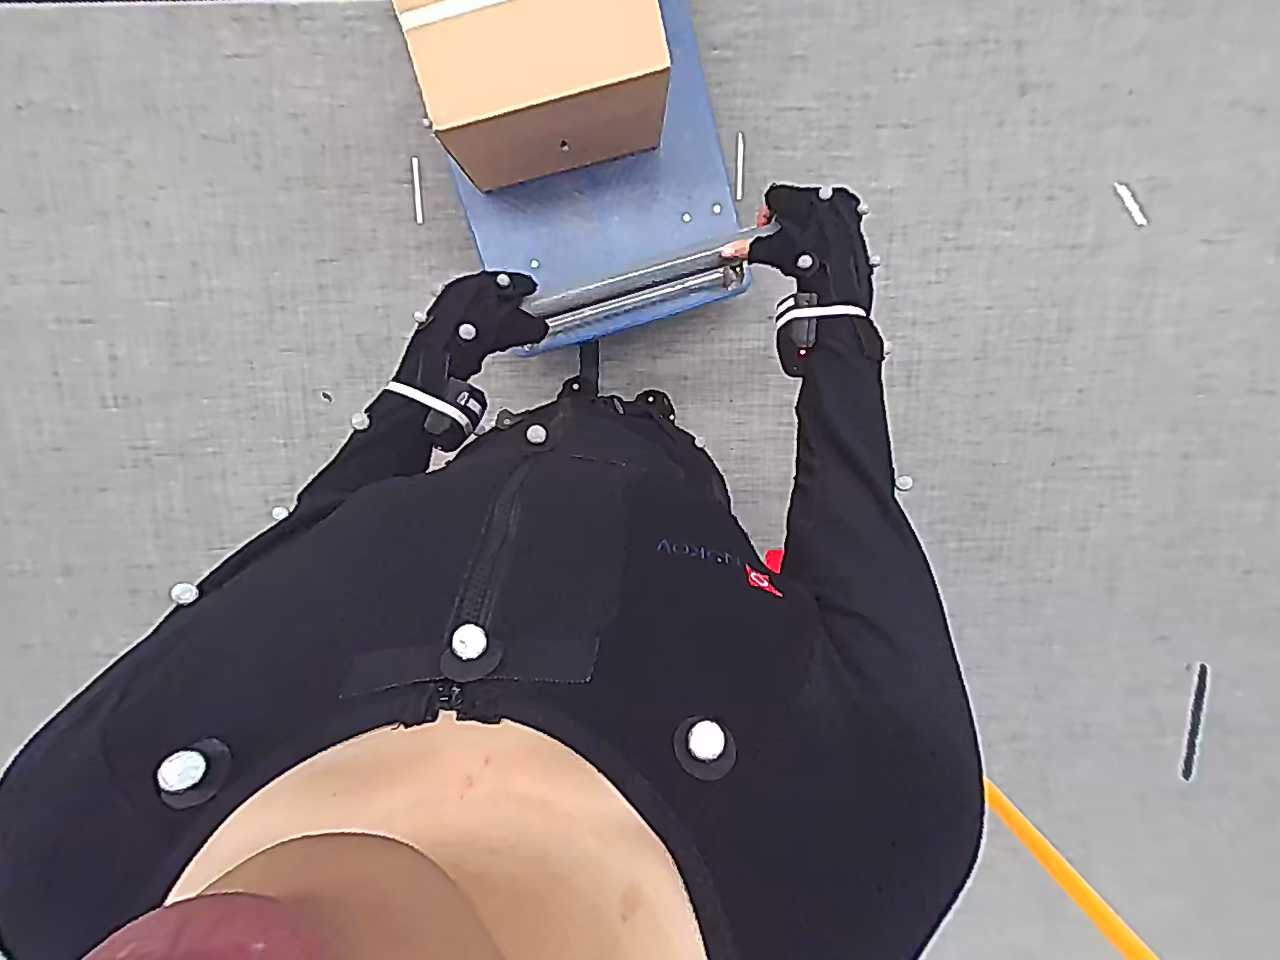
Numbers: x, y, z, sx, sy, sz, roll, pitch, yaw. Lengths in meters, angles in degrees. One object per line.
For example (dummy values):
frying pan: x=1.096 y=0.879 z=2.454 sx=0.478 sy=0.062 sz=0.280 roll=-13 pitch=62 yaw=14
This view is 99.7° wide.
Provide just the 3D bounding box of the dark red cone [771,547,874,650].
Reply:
dark red cone: x=0.472 y=0.316 z=1.346 sx=0.201 sy=0.394 sz=0.202 roll=-1 pitch=101 yaw=-3

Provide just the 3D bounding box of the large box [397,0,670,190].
large box: x=-0.181 y=-0.793 z=1.002 sx=0.408 sy=0.320 sz=0.320 roll=-14 pitch=101 yaw=2
